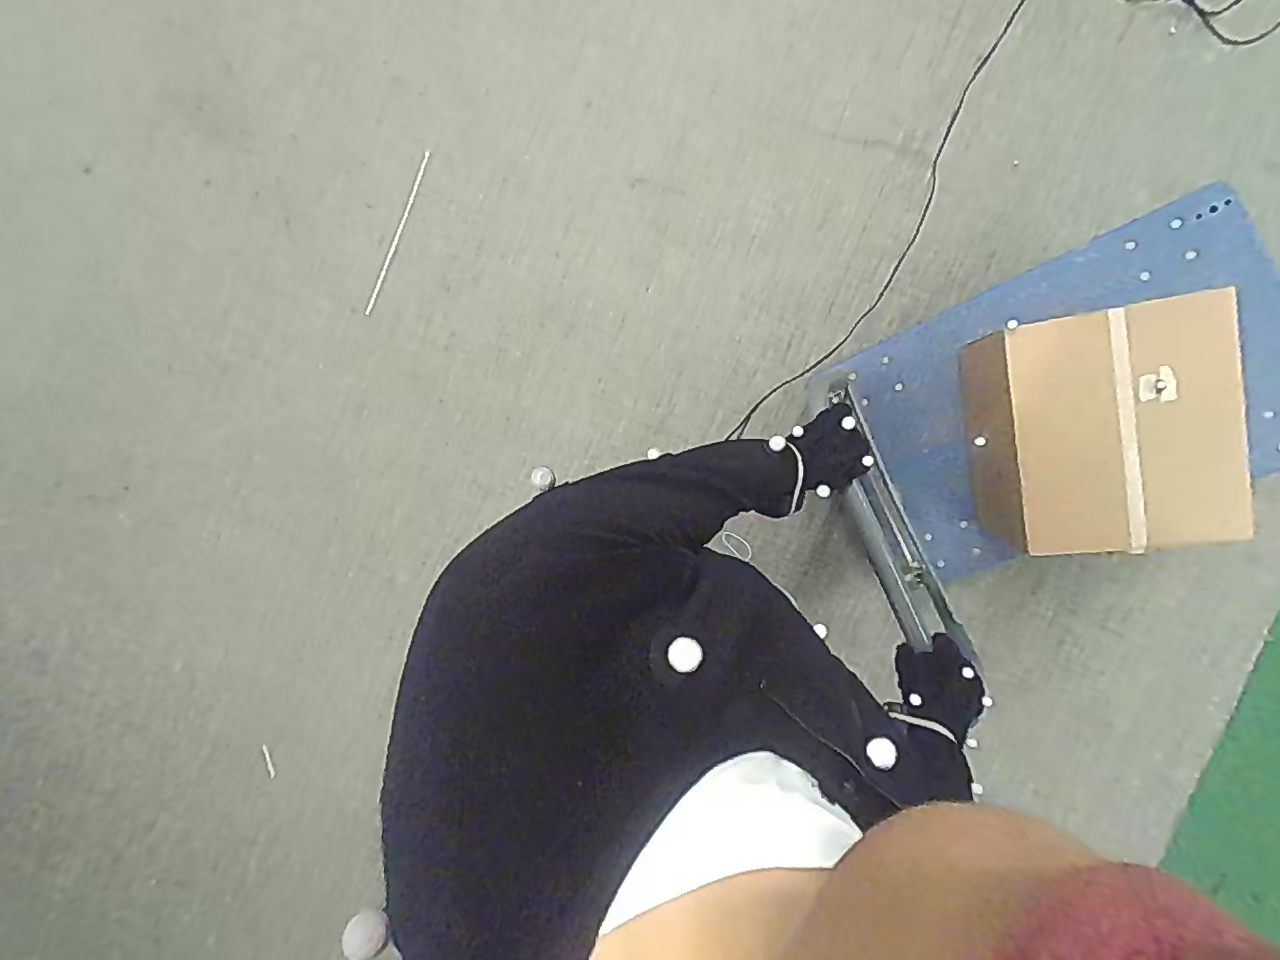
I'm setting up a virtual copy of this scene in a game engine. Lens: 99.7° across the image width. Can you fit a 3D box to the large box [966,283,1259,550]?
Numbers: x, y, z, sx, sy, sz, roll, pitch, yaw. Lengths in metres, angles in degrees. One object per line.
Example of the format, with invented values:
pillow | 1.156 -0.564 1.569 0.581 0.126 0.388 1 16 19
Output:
large box | 0.848 -0.104 1.028 0.320 0.320 0.408 -7 94 19
